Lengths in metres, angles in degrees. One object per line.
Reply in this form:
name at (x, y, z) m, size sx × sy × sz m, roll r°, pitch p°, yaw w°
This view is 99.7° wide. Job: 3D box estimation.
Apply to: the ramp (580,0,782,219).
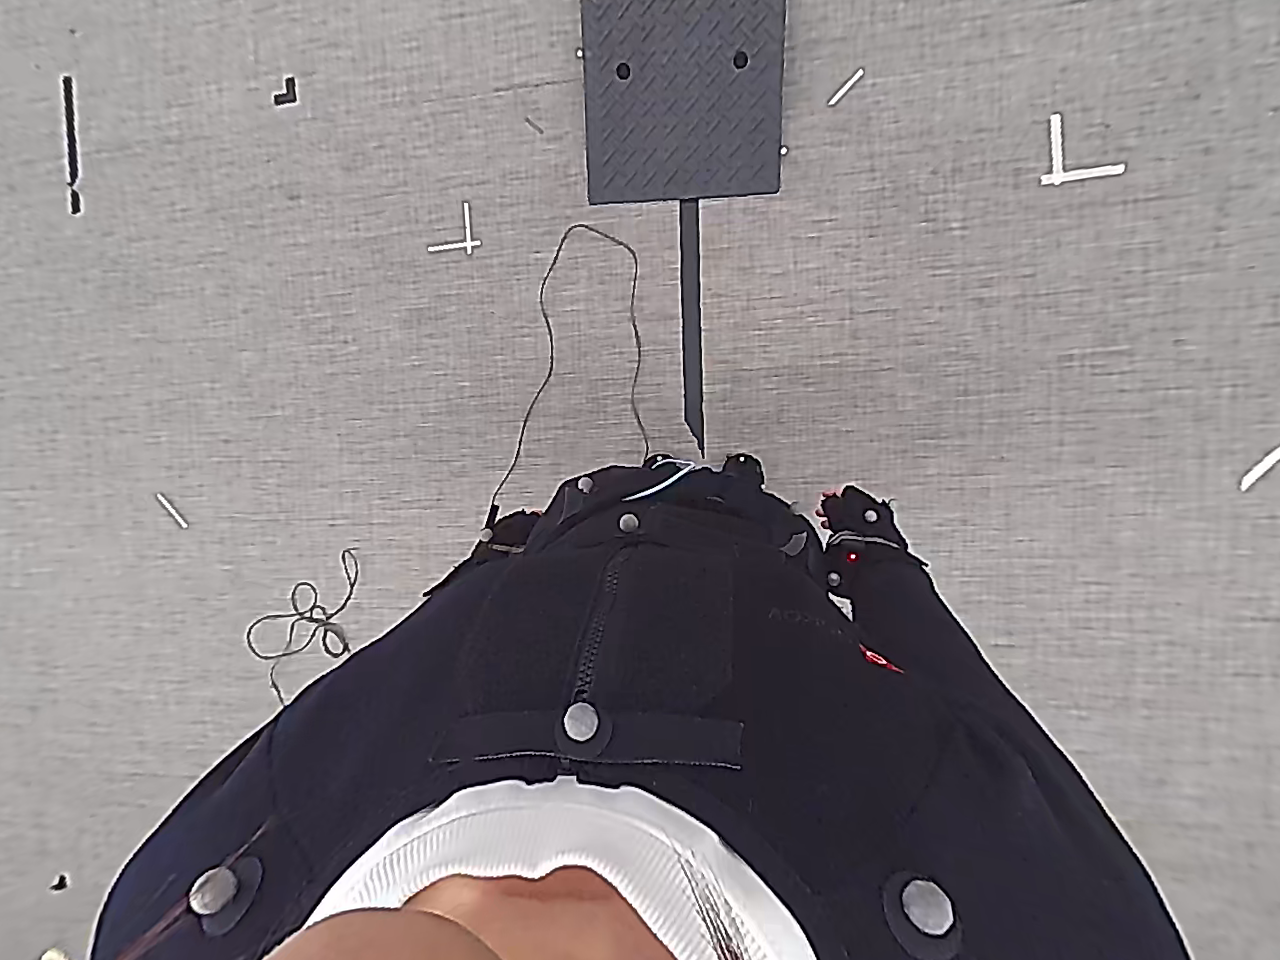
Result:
ramp at (0.096, -1.191, 1.309) m, size 0.509 × 0.206 × 0.991 m, roll -3°, pitch 92°, yaw 8°
